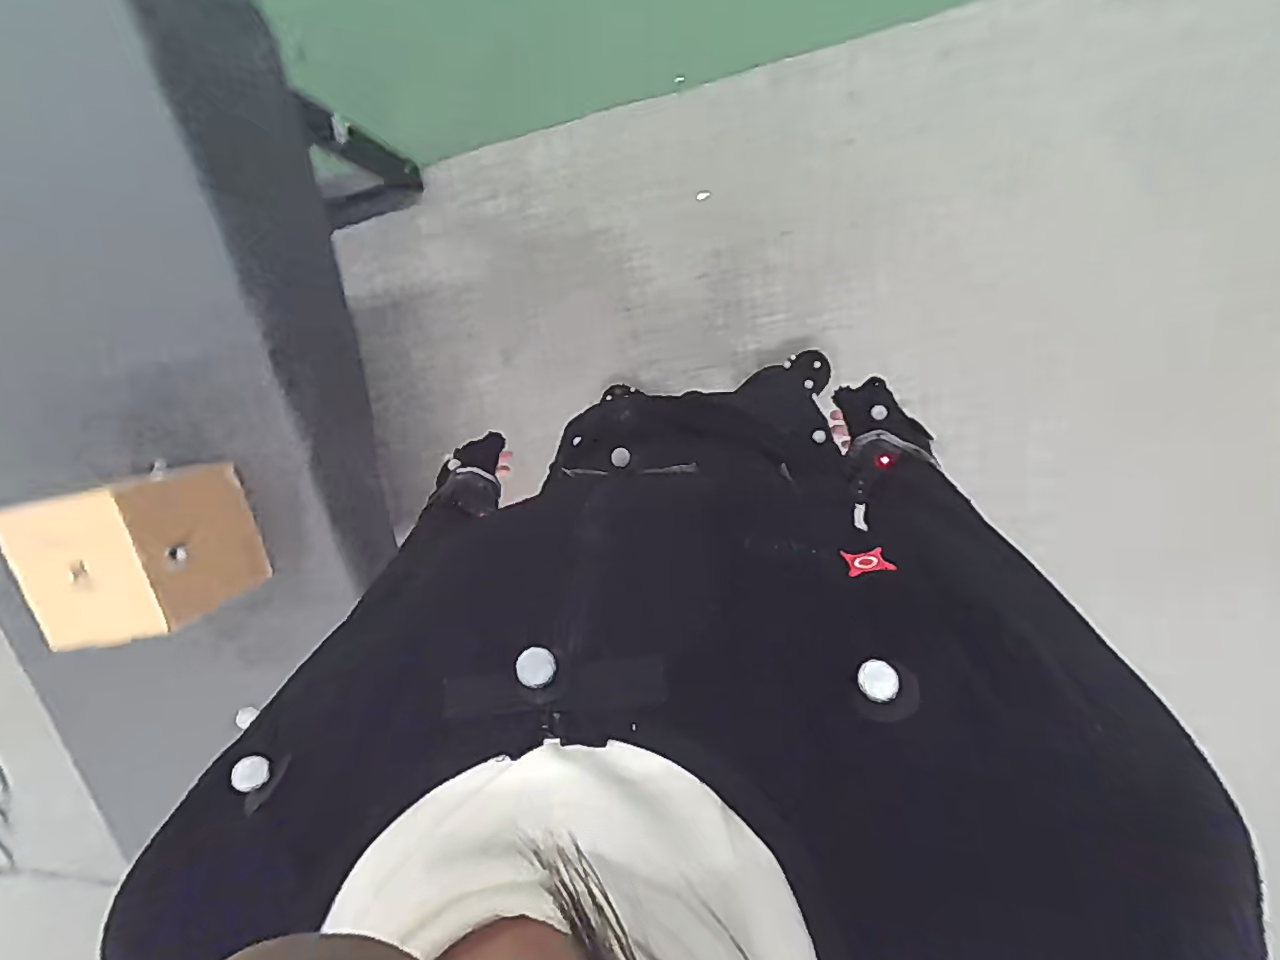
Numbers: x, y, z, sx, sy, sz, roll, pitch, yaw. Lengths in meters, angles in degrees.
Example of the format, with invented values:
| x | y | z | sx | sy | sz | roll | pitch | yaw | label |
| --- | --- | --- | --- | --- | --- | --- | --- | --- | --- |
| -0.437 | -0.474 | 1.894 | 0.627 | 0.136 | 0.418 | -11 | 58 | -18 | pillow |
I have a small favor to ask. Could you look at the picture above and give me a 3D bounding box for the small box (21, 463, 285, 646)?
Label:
| x | y | z | sx | sy | sz | roll | pitch | yaw | label |
| --- | --- | --- | --- | --- | --- | --- | --- | --- | --- |
| -0.617 | 0.090 | 0.713 | 0.168 | 0.176 | 0.179 | -11 | 102 | 9 | small box |
